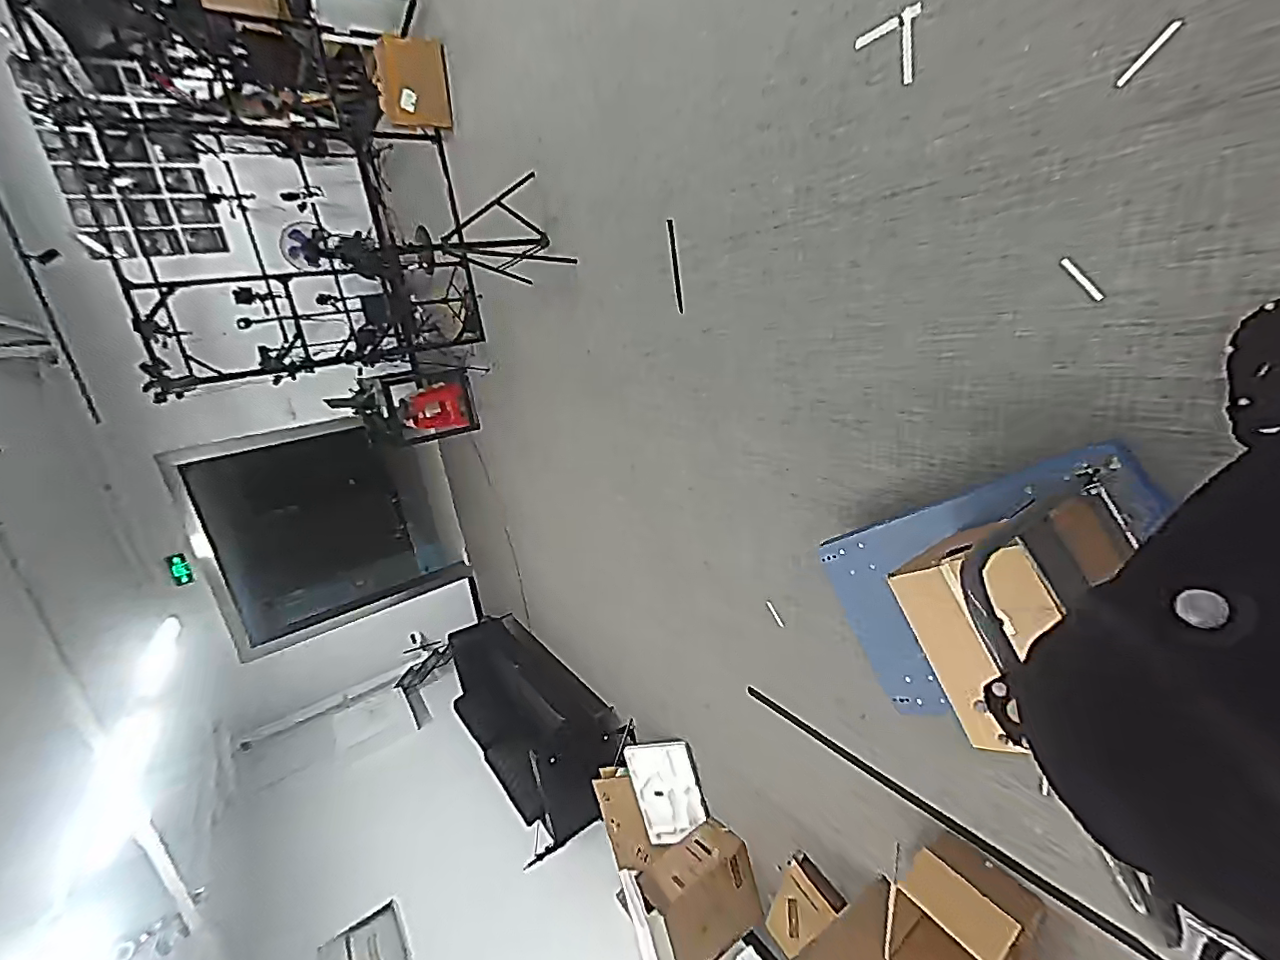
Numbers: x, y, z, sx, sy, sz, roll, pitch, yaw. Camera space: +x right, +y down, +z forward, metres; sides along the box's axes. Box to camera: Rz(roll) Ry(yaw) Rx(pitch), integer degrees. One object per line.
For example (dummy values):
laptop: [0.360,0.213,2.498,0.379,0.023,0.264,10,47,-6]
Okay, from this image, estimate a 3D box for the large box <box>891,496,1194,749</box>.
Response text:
large box: [0.842,0.299,1.158,0.320,0.320,0.408,-40,71,57]
